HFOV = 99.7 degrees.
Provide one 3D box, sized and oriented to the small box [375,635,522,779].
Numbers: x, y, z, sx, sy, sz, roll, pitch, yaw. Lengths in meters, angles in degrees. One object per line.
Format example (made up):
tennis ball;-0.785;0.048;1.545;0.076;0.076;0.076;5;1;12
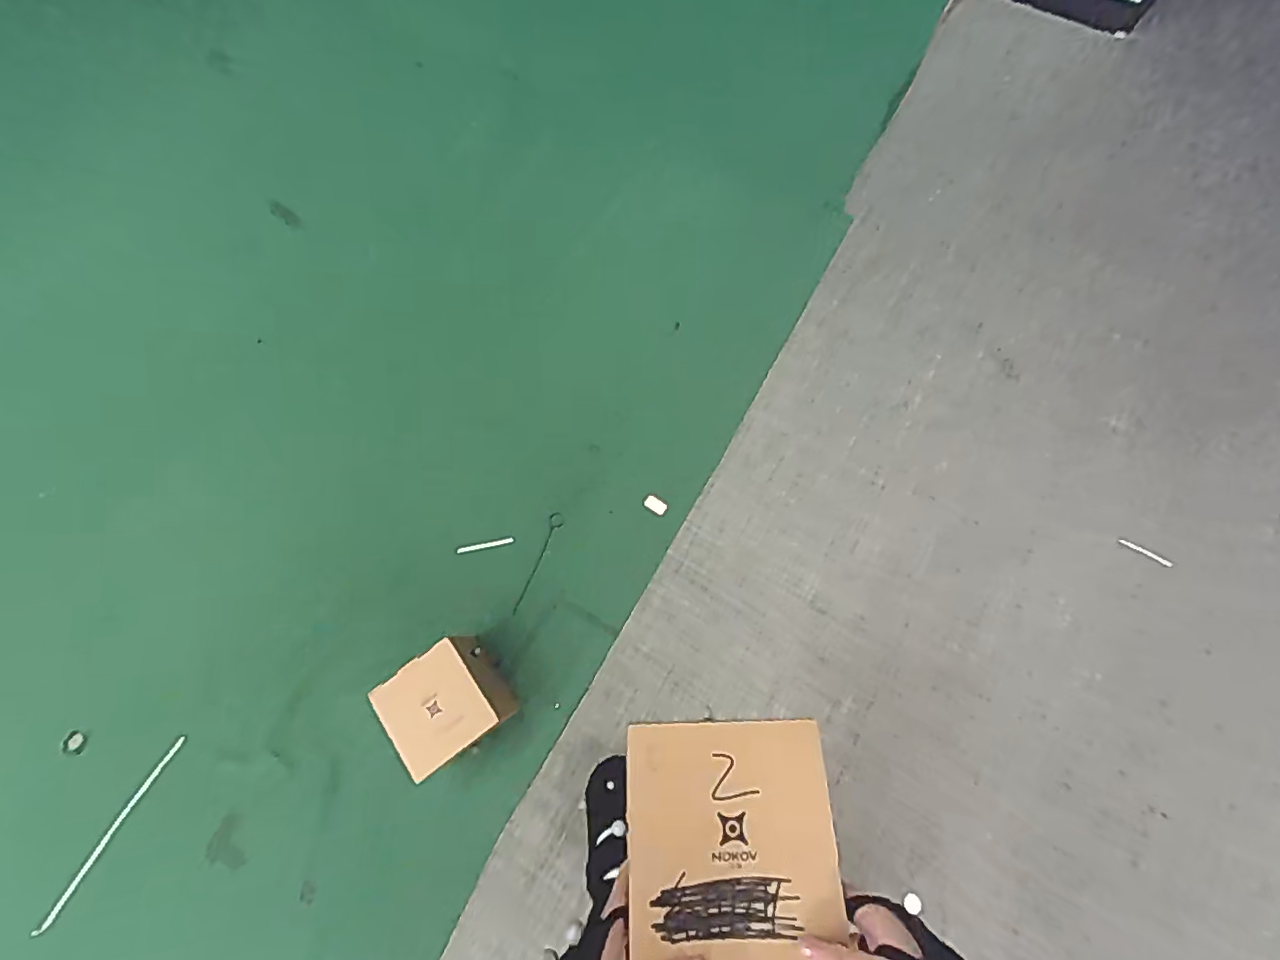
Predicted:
small box;-0.346;0.411;1.006;0.168;0.176;0.179;-35;76;-9
